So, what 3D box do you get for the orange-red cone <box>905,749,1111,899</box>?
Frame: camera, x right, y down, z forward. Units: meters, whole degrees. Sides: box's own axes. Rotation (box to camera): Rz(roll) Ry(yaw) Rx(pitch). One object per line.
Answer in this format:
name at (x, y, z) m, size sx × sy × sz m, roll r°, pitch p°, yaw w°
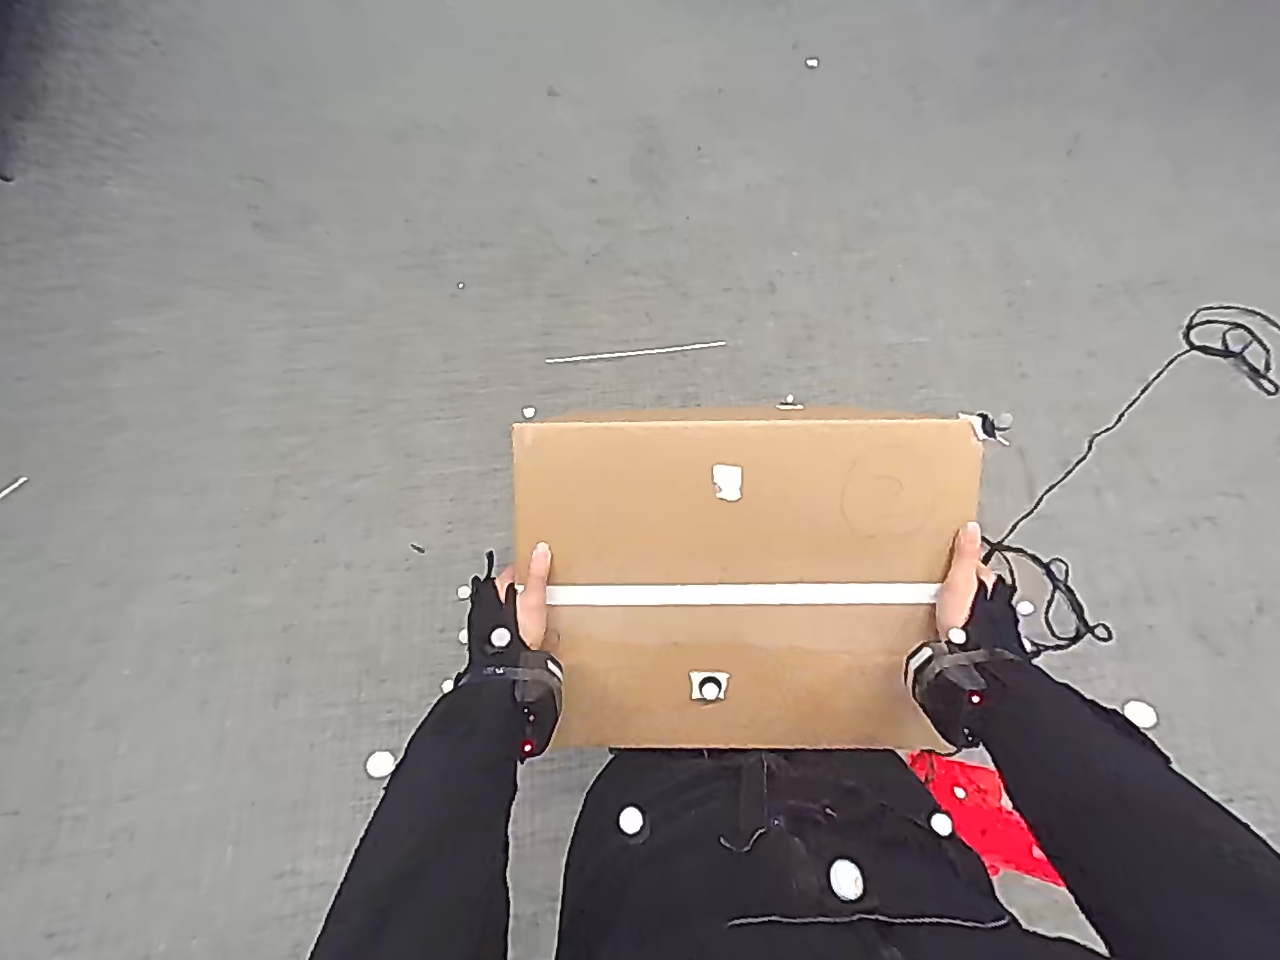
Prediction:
orange-red cone at (0.646, 0.617, 0.928) m, size 0.199 × 0.360 × 0.198 m, roll 14°, pitch 74°, yaw 3°
